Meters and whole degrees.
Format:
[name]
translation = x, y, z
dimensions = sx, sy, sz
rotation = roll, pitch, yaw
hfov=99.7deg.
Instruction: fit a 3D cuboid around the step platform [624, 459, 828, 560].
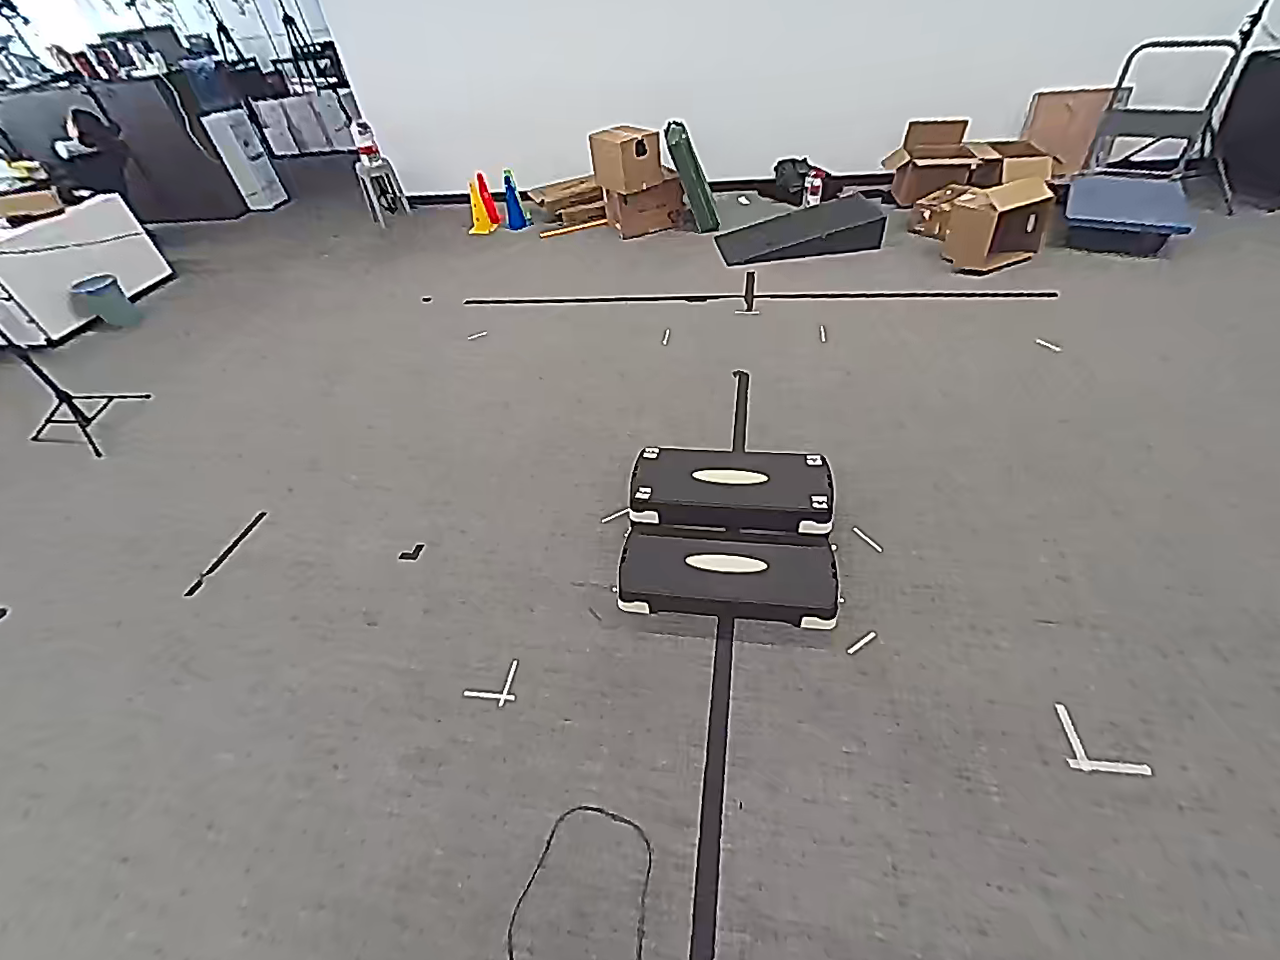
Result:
[step platform]
translation = 0.286, 0.091, 1.865
dimensions = 0.684, 0.204, 0.286
rotation = 3, 45, 9
